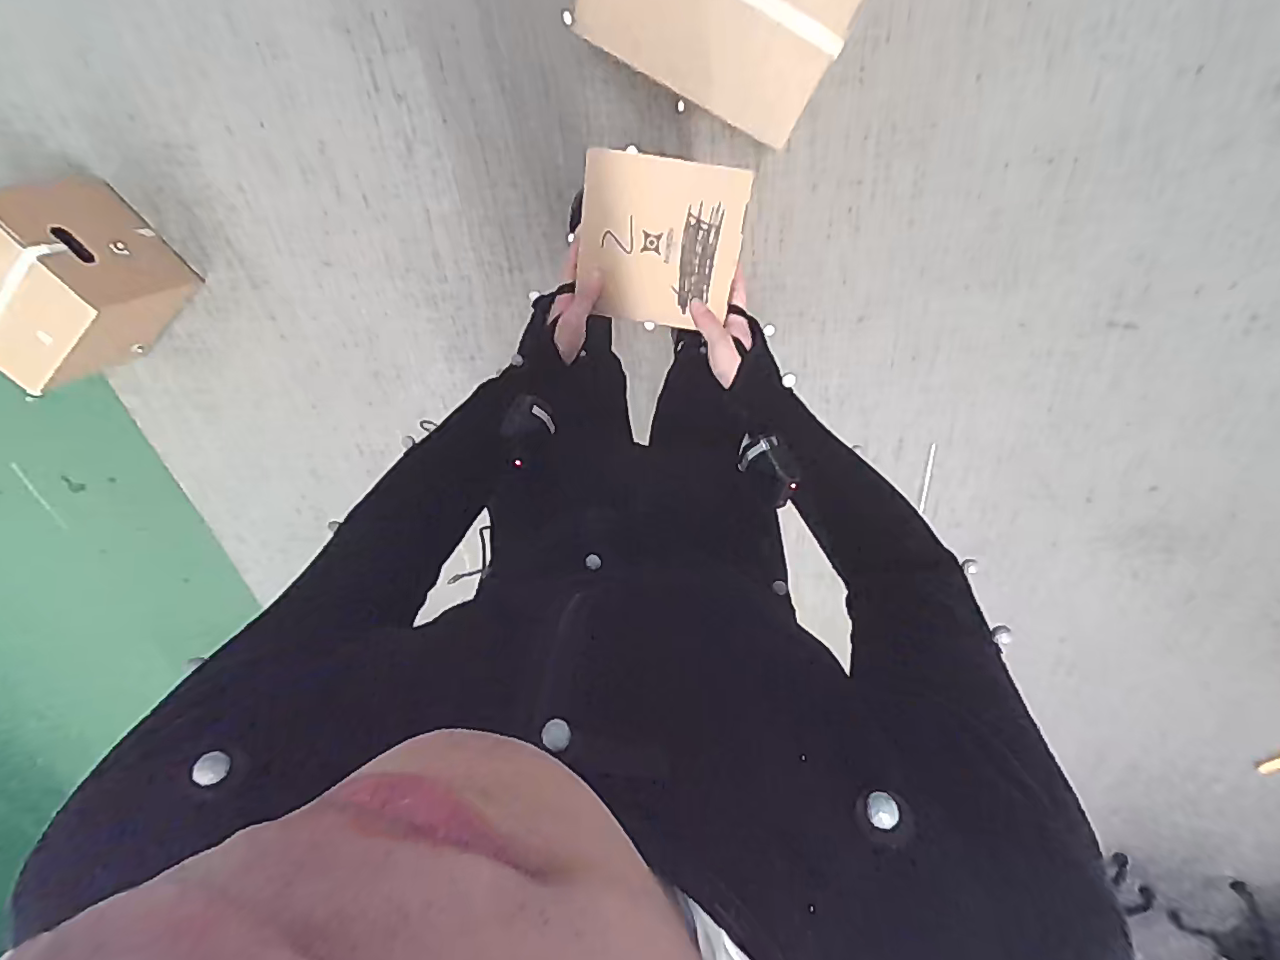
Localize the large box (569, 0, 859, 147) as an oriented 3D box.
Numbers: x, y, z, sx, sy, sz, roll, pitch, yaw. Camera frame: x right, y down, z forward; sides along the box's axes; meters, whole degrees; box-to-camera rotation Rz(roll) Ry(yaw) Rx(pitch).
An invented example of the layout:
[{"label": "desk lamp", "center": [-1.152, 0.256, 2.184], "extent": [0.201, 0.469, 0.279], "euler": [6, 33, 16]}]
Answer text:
[{"label": "large box", "center": [0.147, -0.837, 0.938], "extent": [0.408, 0.320, 0.320], "euler": [25, 122, -7]}]
